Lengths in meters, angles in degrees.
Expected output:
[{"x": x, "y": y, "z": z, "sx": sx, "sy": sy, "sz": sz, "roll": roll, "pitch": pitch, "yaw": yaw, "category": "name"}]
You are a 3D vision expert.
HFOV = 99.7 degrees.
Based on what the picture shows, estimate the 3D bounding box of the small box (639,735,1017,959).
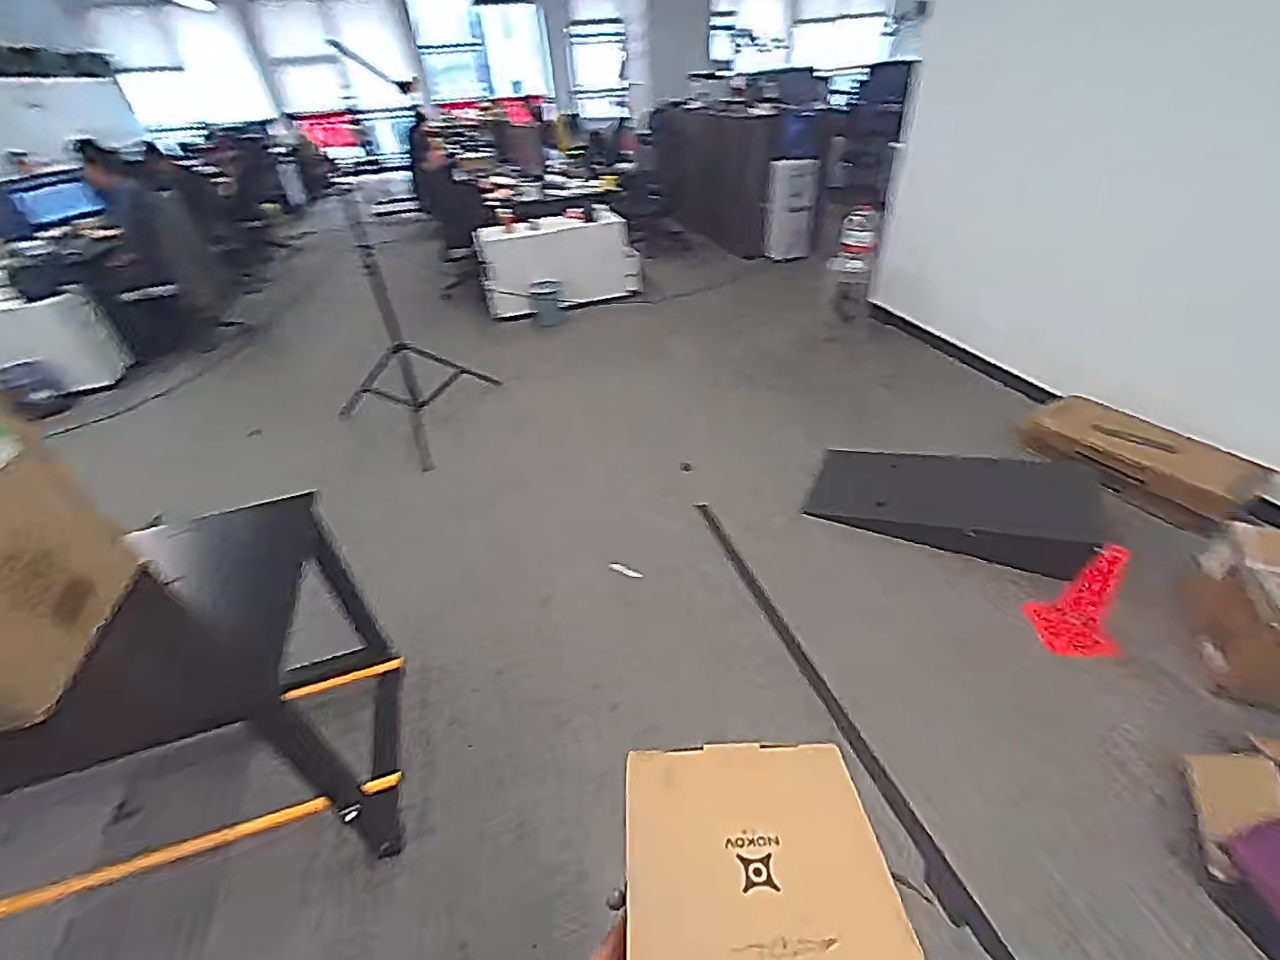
[{"x": 0.084, "y": 0.273, "z": 0.296, "sx": 0.168, "sy": 0.176, "sz": 0.179, "roll": -2, "pitch": 26, "yaw": -2, "category": "small box"}]
